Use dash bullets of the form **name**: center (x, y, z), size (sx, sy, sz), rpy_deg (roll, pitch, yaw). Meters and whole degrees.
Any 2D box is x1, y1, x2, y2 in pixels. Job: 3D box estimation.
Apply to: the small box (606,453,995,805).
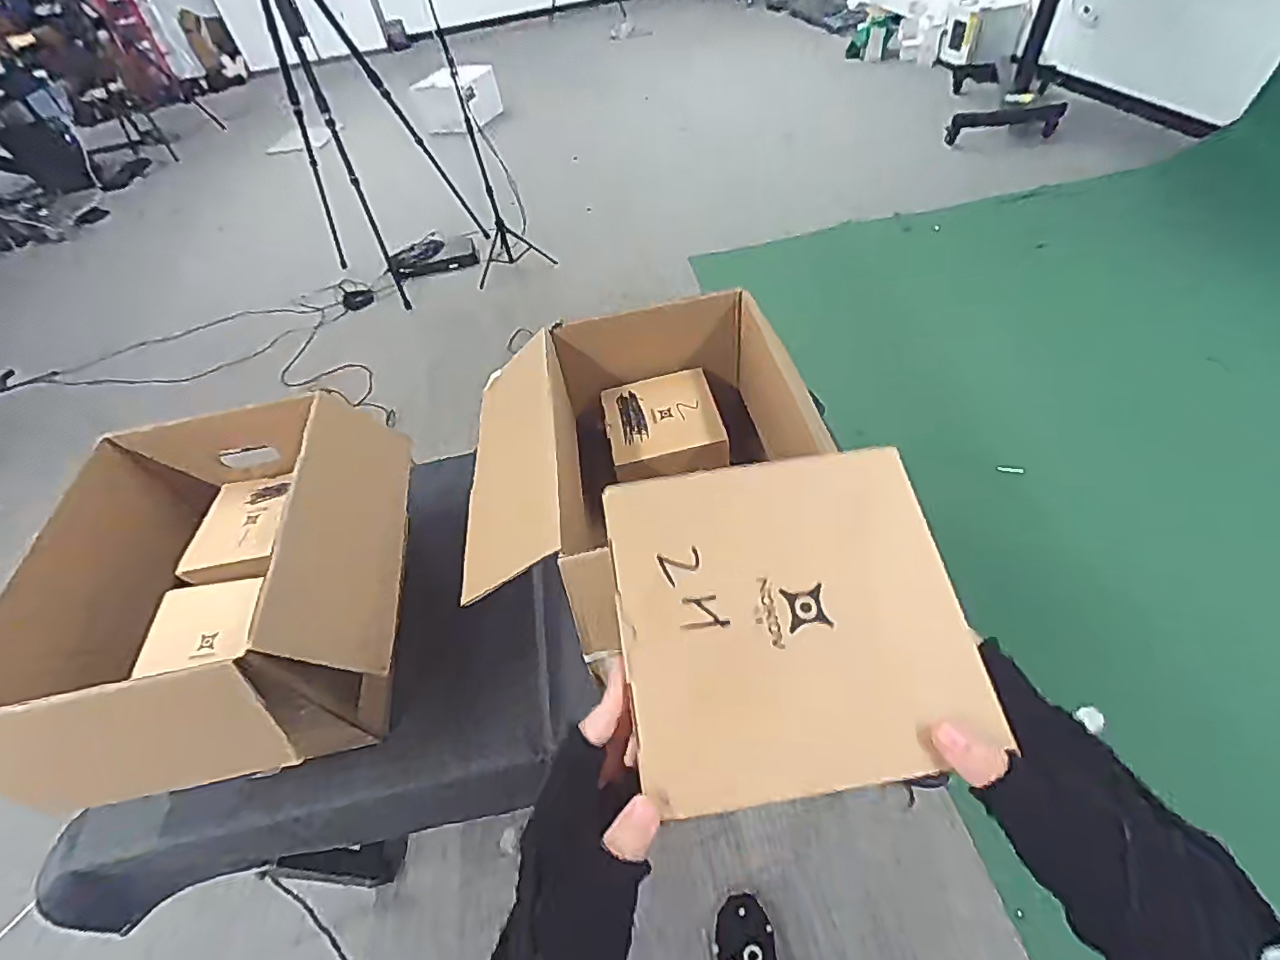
- **small box**: center (0.073, 0.099, 0.355), size (0.179, 0.176, 0.168), rpy_deg (-7, 65, -3)
